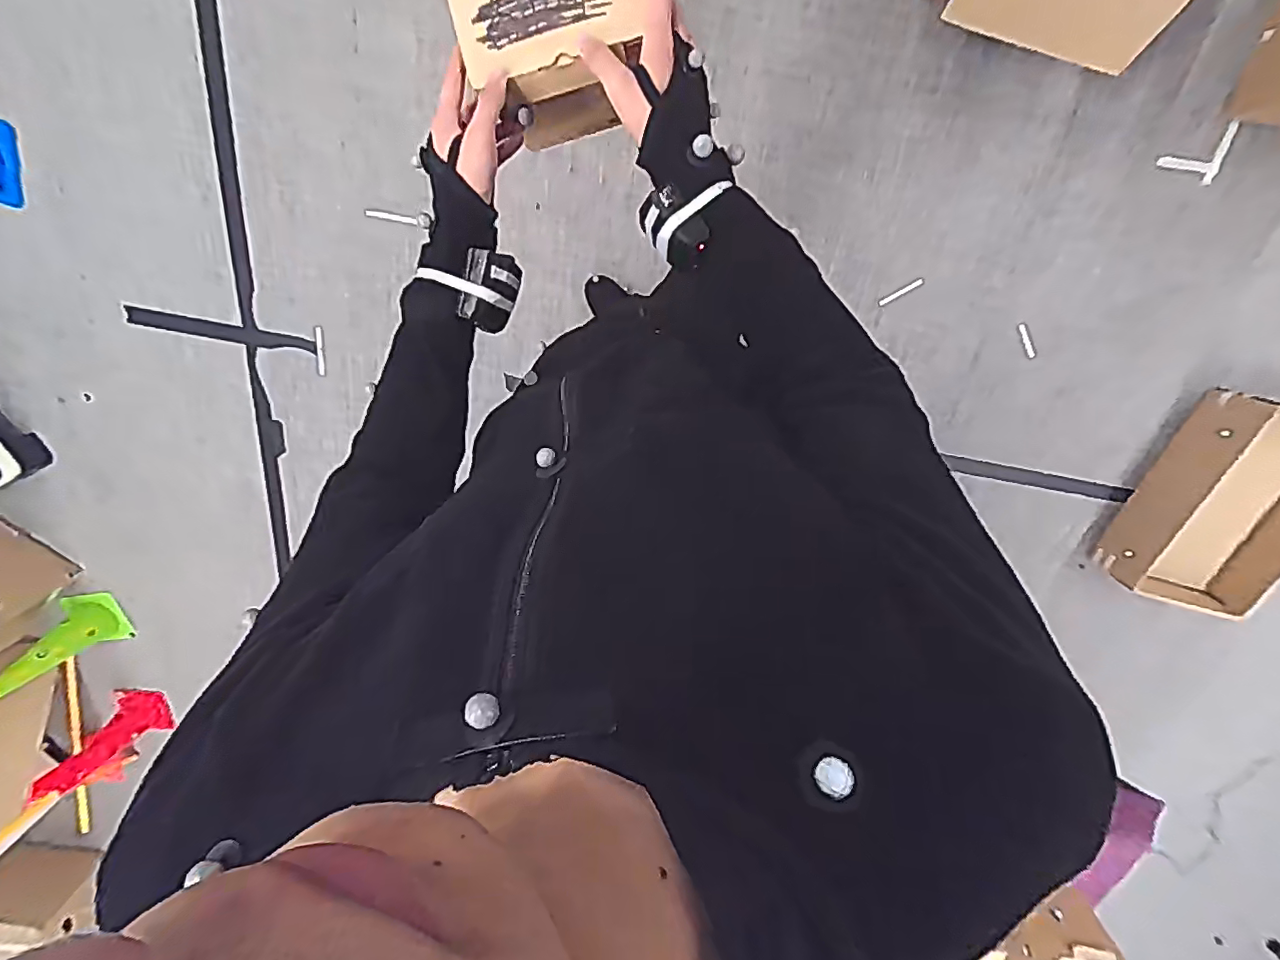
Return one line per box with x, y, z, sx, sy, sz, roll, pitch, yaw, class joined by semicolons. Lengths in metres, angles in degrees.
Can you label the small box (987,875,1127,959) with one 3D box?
0.967;1.075;1.275;0.168;0.176;0.179;13;114;-4;small box
